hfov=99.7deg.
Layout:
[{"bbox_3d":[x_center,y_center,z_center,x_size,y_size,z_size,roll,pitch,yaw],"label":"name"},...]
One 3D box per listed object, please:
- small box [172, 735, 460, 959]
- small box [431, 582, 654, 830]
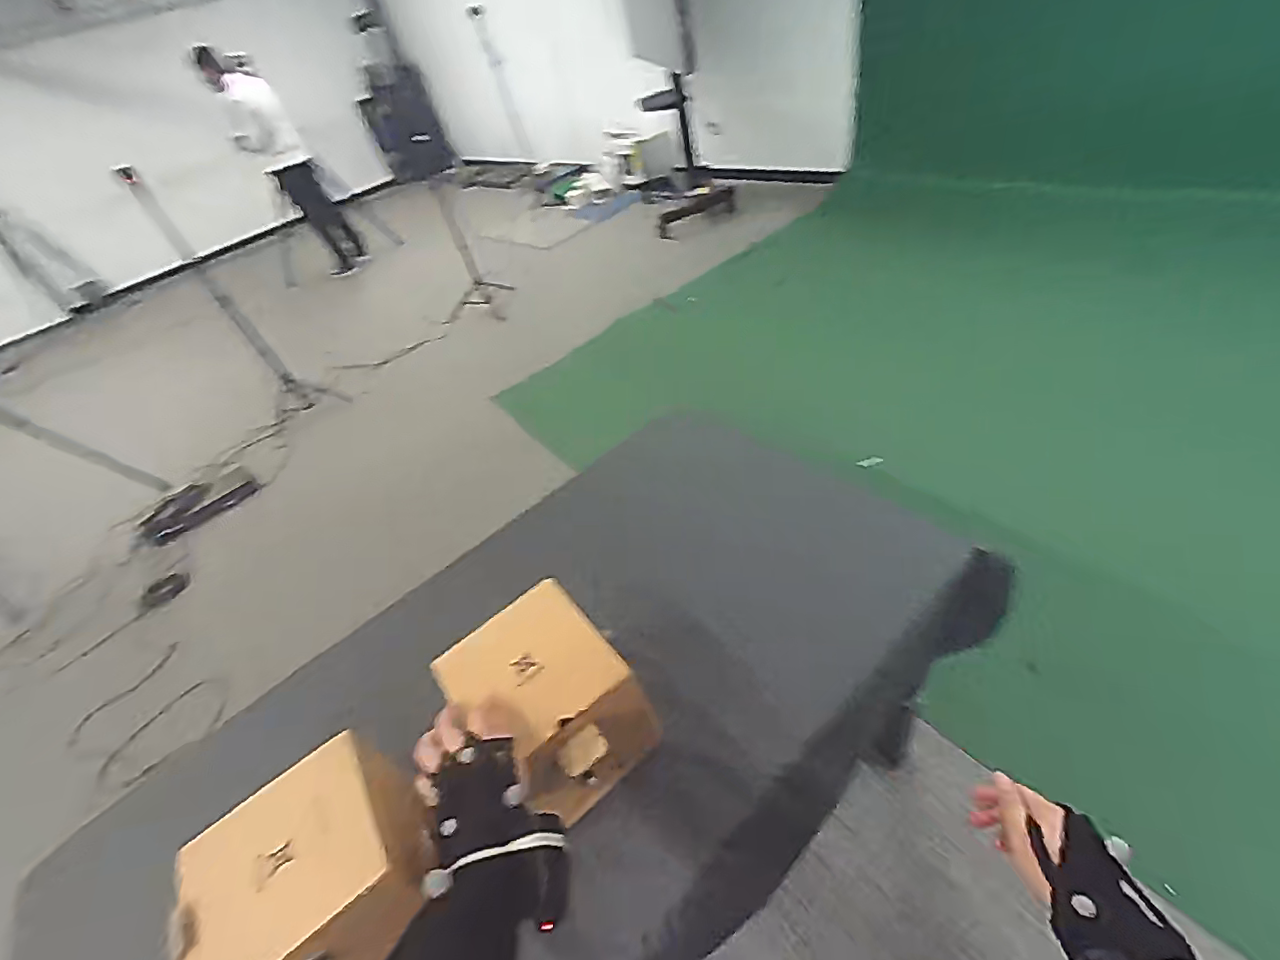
[{"bbox_3d":[-0.316,0.409,0.544,0.179,0.176,0.168,-34,44,-19],"label":"small box"},{"bbox_3d":[-0.108,0.262,0.635,0.168,0.176,0.179,-36,45,-20],"label":"small box"}]
